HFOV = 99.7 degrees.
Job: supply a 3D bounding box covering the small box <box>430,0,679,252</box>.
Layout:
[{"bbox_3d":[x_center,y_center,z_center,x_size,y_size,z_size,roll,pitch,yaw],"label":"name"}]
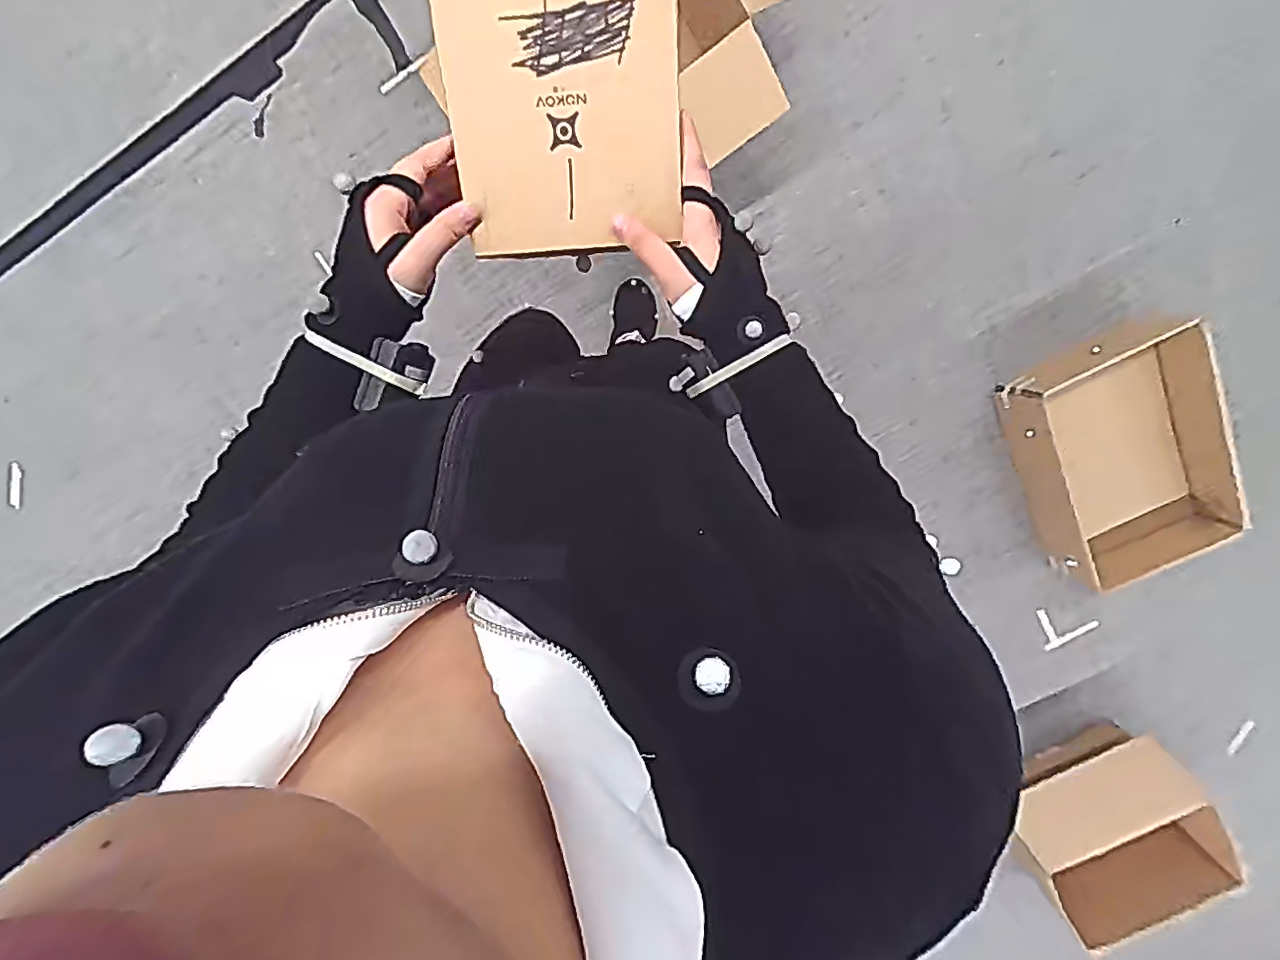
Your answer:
[{"bbox_3d":[-0.057,-0.295,0.457,0.168,0.176,0.179,-4,111,1],"label":"small box"}]
